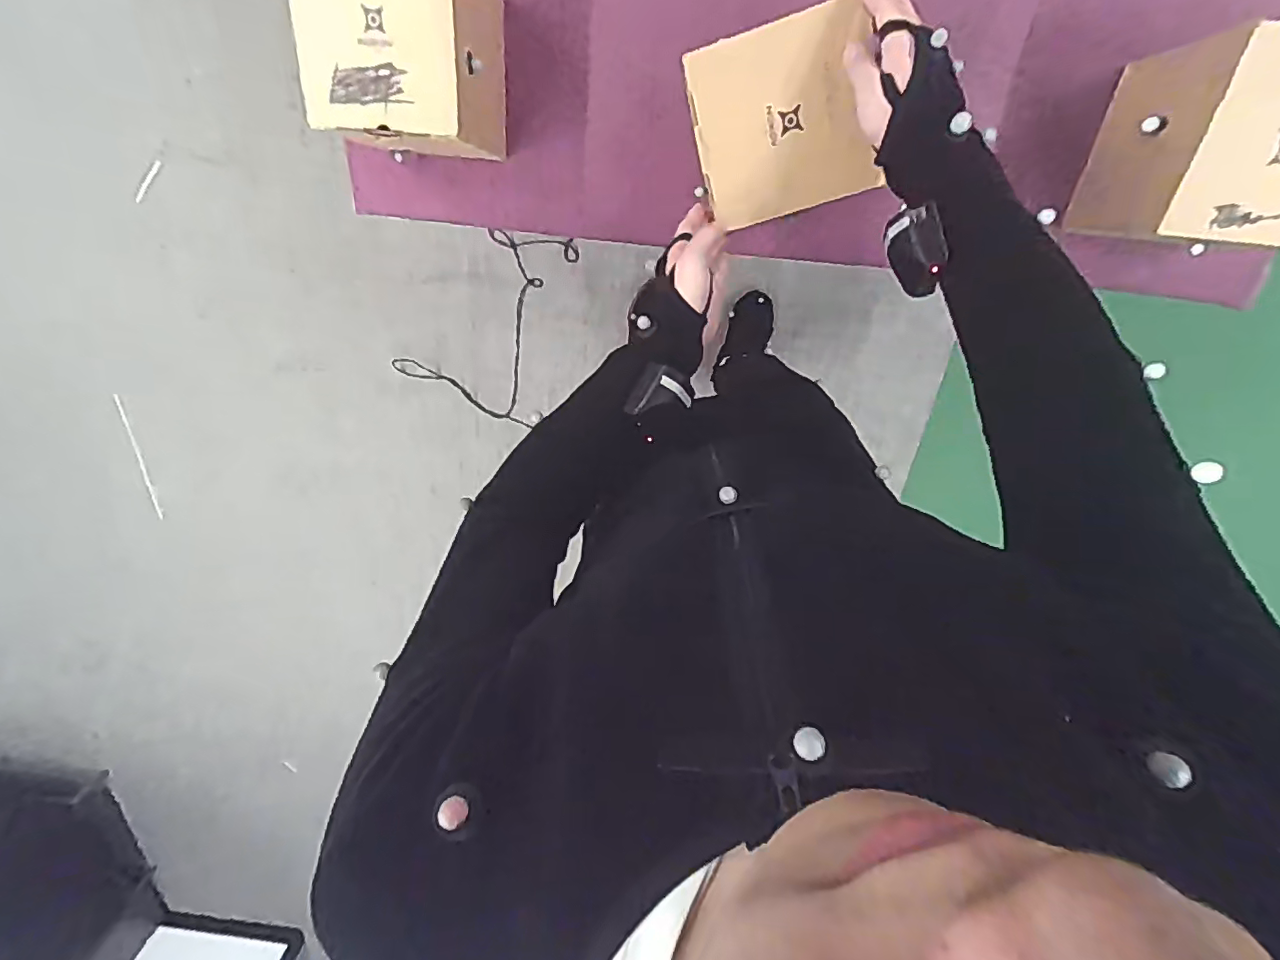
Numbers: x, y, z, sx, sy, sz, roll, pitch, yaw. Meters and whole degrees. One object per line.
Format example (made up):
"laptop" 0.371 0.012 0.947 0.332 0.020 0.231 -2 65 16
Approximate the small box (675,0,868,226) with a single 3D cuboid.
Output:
"small box" 0.147 -0.398 0.613 0.179 0.176 0.168 -8 118 13

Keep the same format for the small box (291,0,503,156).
"small box" -0.262 -0.484 0.620 0.168 0.176 0.179 6 115 3

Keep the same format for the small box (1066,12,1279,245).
"small box" 0.613 -0.357 0.579 0.168 0.176 0.179 8 117 4
